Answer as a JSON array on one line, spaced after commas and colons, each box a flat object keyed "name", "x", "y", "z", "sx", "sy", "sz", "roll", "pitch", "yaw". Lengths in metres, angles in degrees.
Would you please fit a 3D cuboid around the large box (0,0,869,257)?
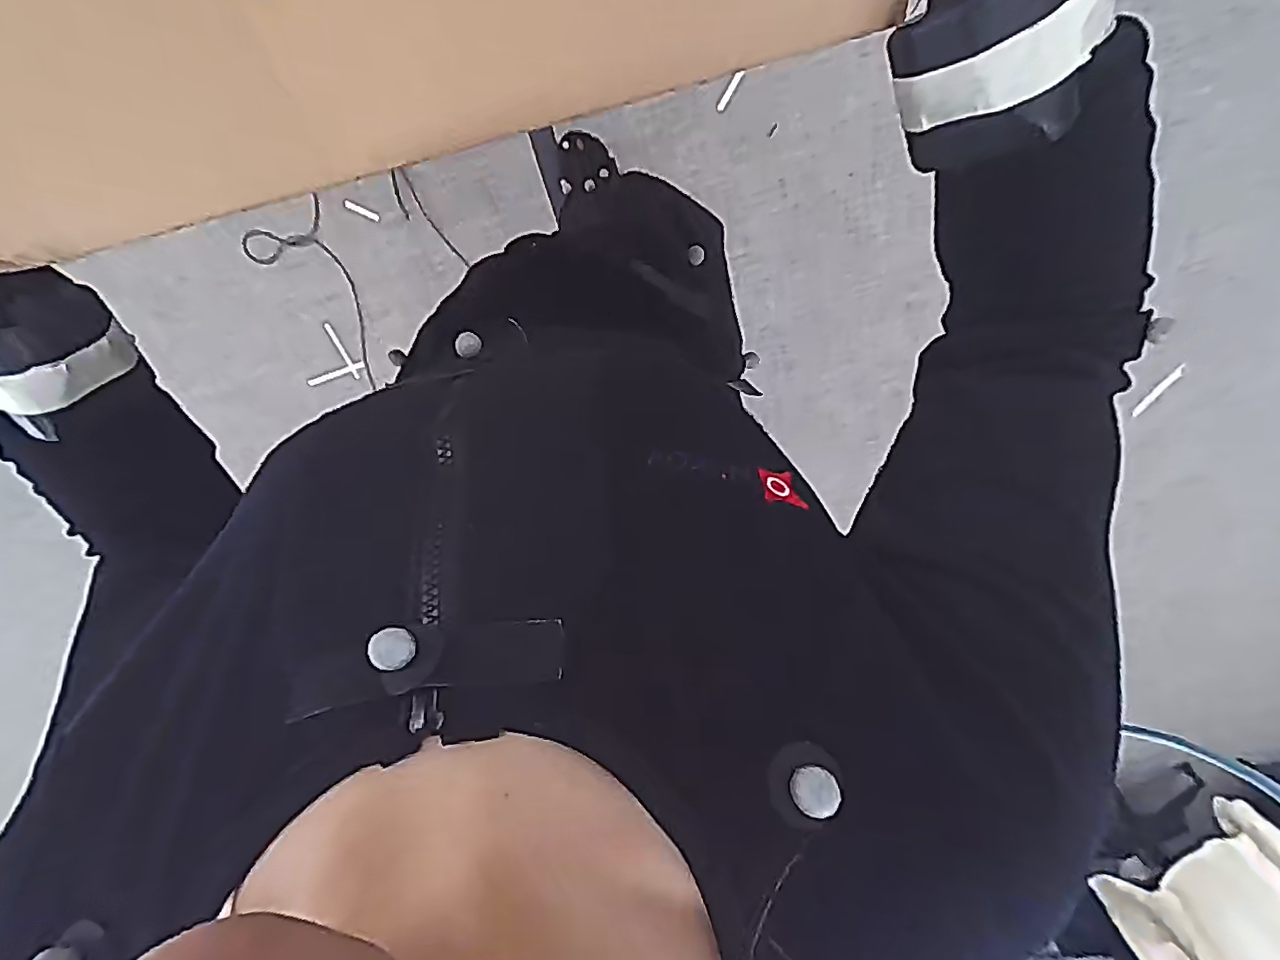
[{"name": "large box", "x": -0.141, "y": -0.354, "z": 0.211, "sx": 0.408, "sy": 0.320, "sz": 0.320, "roll": -13, "pitch": 140, "yaw": 4}]
